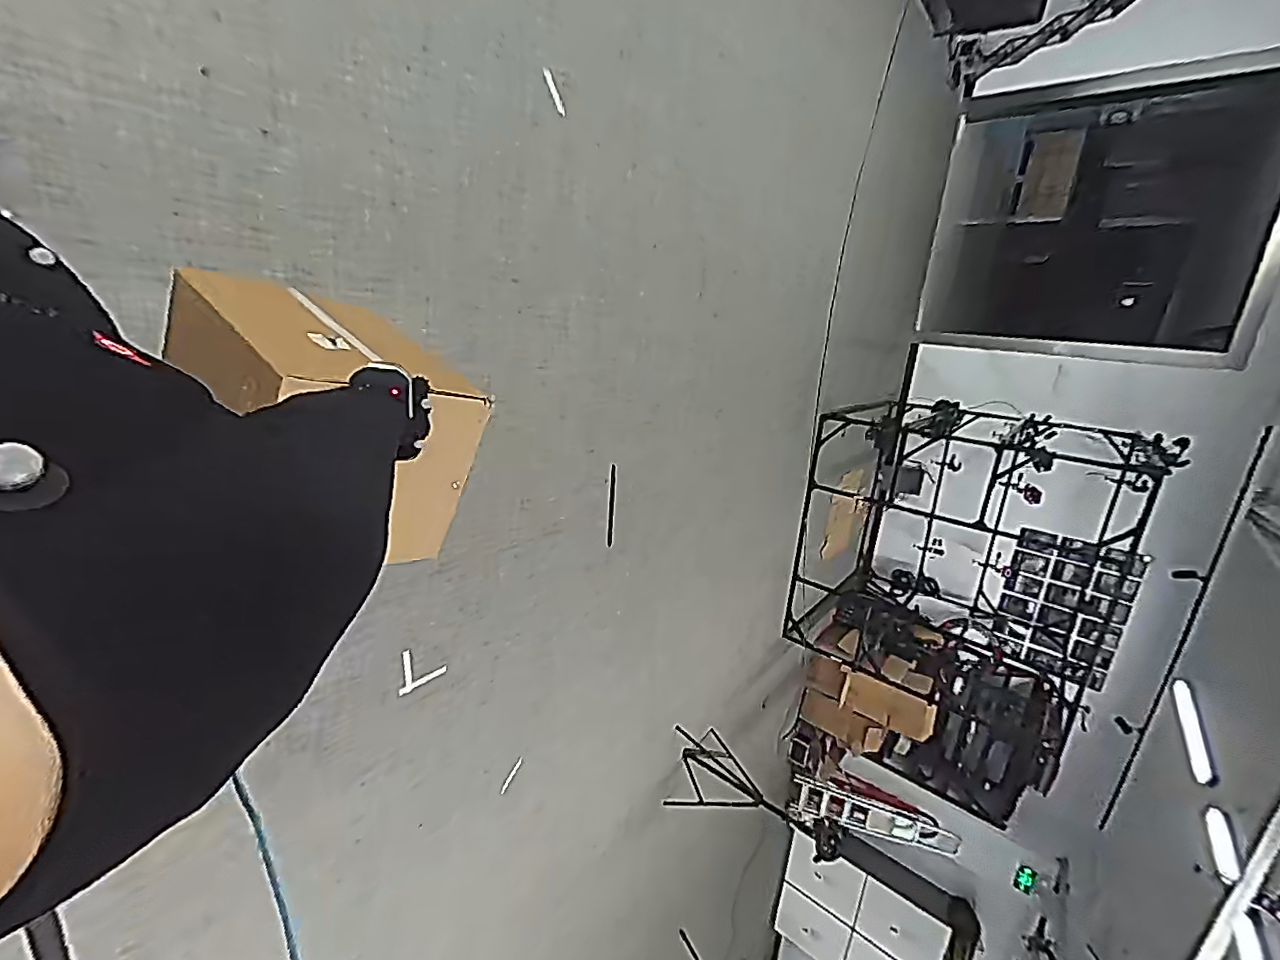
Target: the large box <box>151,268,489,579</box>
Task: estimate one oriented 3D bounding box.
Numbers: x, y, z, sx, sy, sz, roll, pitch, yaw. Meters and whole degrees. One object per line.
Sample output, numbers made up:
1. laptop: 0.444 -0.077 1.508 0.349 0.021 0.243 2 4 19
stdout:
1. large box: -0.536 -0.096 0.900 0.320 0.408 0.320 -3 124 -56
